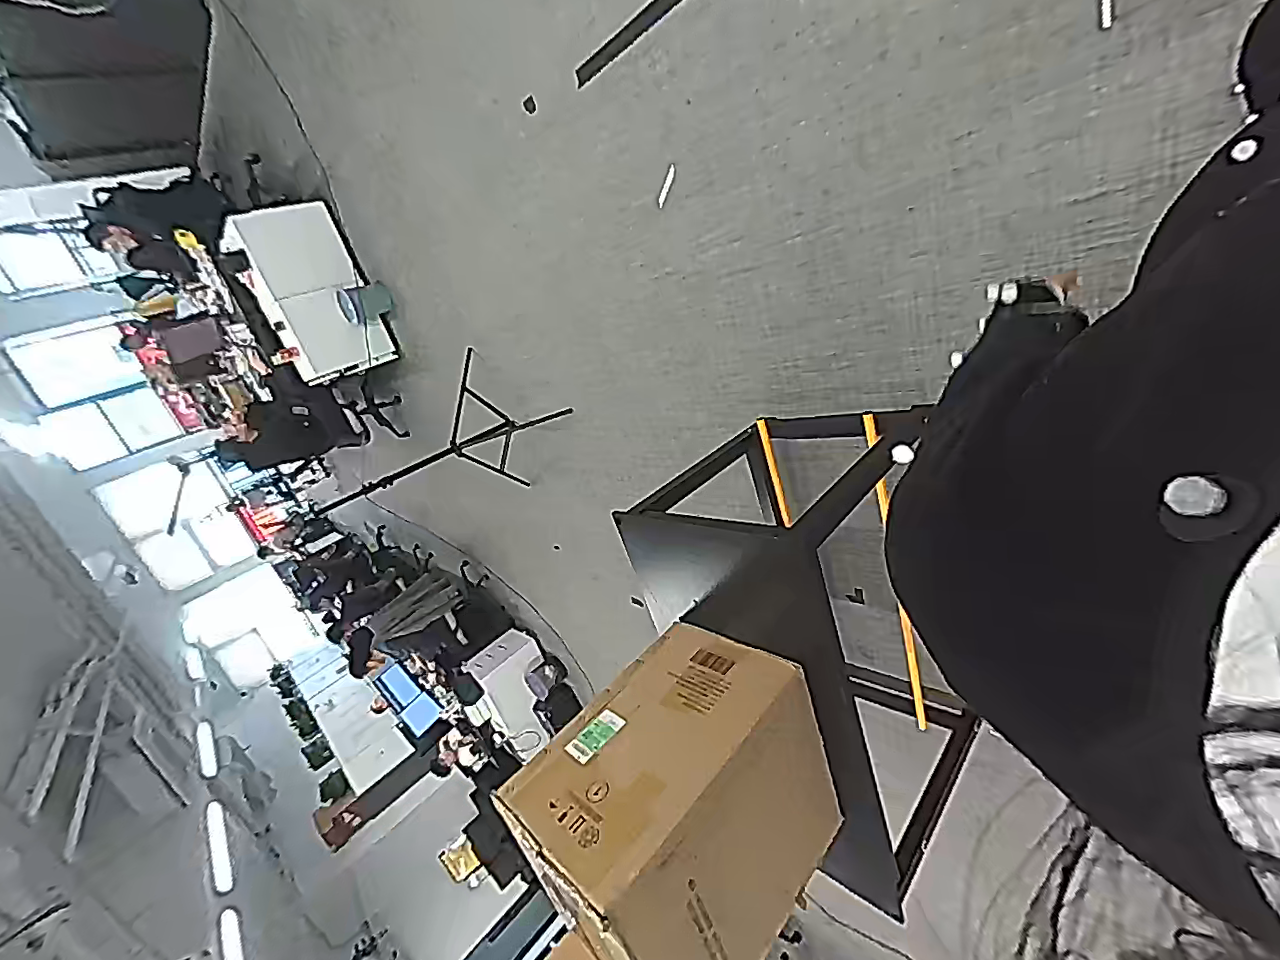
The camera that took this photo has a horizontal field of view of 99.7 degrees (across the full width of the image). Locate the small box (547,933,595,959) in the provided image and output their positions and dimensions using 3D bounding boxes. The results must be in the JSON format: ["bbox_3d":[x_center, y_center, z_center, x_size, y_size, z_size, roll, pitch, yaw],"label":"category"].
[{"bbox_3d":[-0.132,1.106,1.115,0.179,0.176,0.168,3,119,50],"label":"small box"}]
